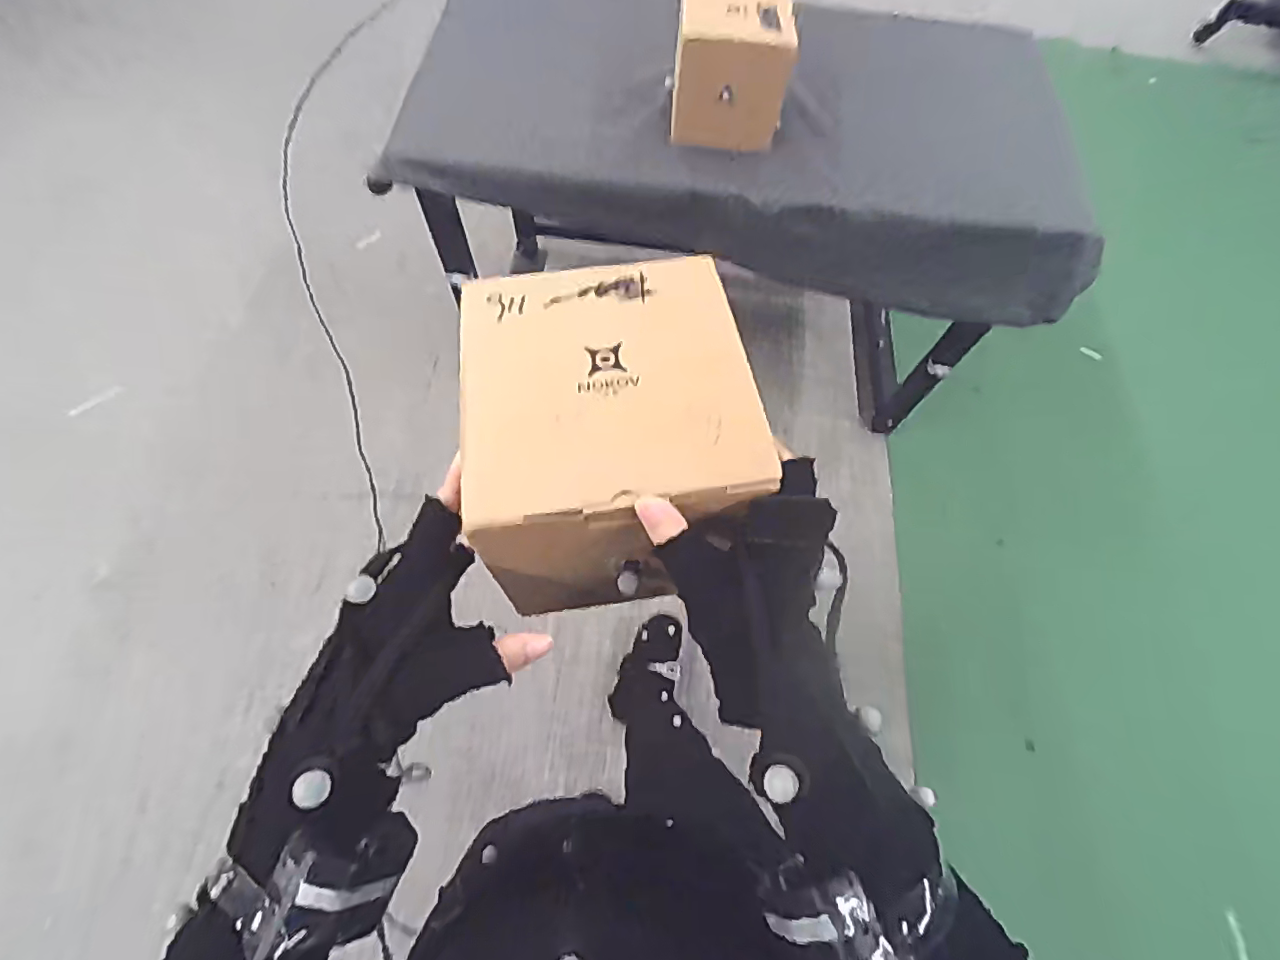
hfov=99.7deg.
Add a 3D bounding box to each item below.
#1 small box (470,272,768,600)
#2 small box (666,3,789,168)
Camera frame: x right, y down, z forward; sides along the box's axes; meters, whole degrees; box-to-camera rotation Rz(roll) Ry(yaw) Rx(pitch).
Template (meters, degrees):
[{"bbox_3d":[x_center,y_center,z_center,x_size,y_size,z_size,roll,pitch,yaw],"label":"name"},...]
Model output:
[{"bbox_3d":[-0.021,-0.020,0.398,0.168,0.176,0.179,-8,62,-5],"label":"small box"},{"bbox_3d":[0.143,-0.669,0.929,0.179,0.176,0.168,4,65,-1],"label":"small box"}]
